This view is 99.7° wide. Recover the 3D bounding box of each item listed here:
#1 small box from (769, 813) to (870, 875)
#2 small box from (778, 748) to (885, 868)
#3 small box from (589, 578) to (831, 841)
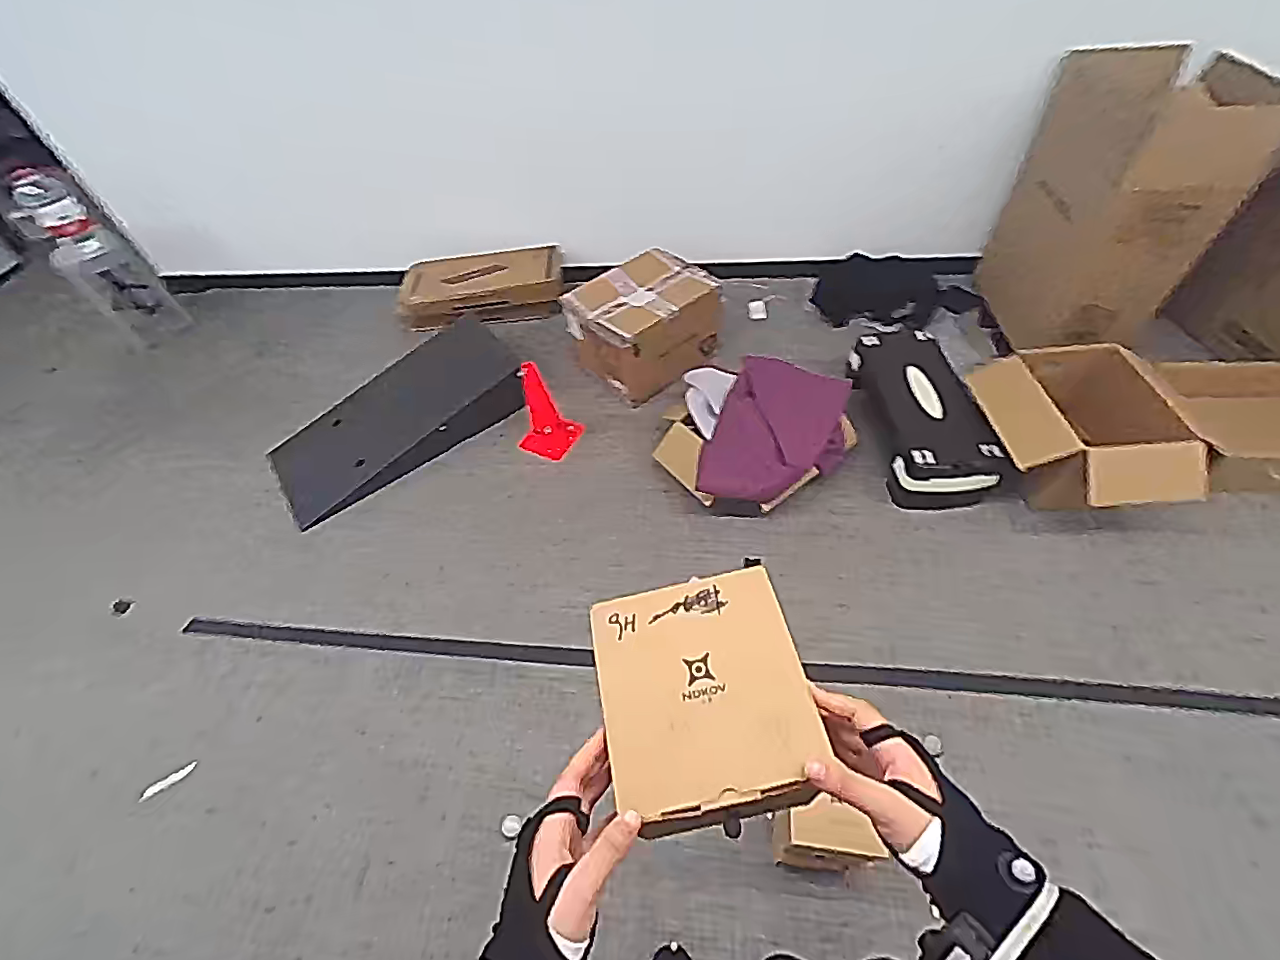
[{"bbox_3d":[0.378,0.748,1.174,0.179,0.176,0.168,2,52,8],"label":"small box"},{"bbox_3d":[0.361,0.637,1.056,0.168,0.176,0.179,3,53,9],"label":"small box"},{"bbox_3d":[0.058,0.220,0.507,0.168,0.176,0.179,-13,54,-1],"label":"small box"}]
